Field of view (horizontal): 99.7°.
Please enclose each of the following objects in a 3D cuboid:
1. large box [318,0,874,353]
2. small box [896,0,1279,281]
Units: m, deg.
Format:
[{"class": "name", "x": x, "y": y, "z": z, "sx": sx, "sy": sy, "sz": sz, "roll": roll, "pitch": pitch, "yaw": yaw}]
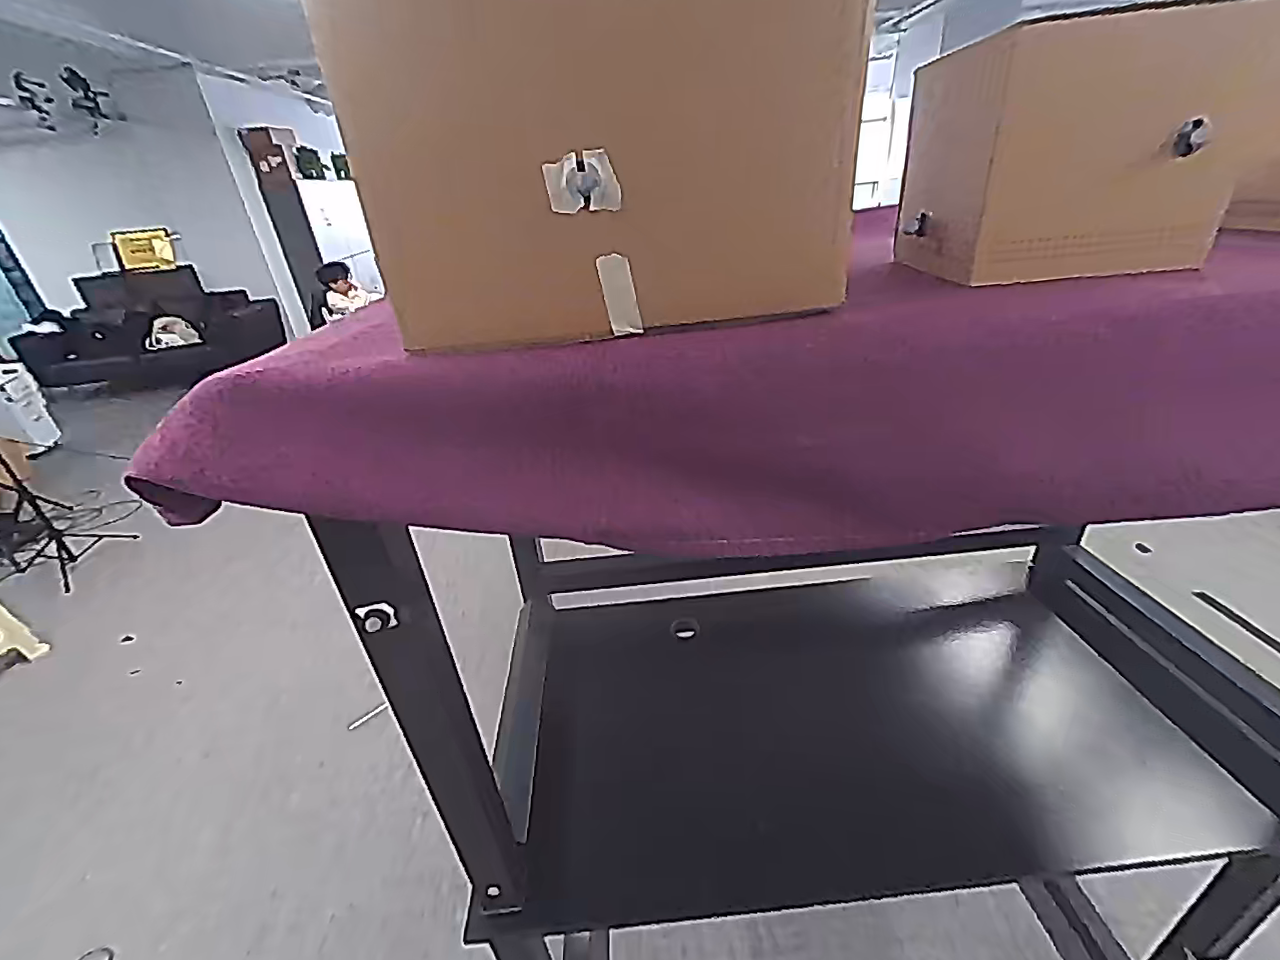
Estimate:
[{"class": "large box", "x": -0.039, "y": -0.322, "z": 0.470, "sx": 0.320, "sy": 0.320, "sz": 0.408, "roll": -7, "pitch": 28, "yaw": -3}, {"class": "small box", "x": 0.337, "y": -0.269, "z": 0.446, "sx": 0.179, "sy": 0.176, "sz": 0.168, "roll": -4, "pitch": 28, "yaw": 5}]
